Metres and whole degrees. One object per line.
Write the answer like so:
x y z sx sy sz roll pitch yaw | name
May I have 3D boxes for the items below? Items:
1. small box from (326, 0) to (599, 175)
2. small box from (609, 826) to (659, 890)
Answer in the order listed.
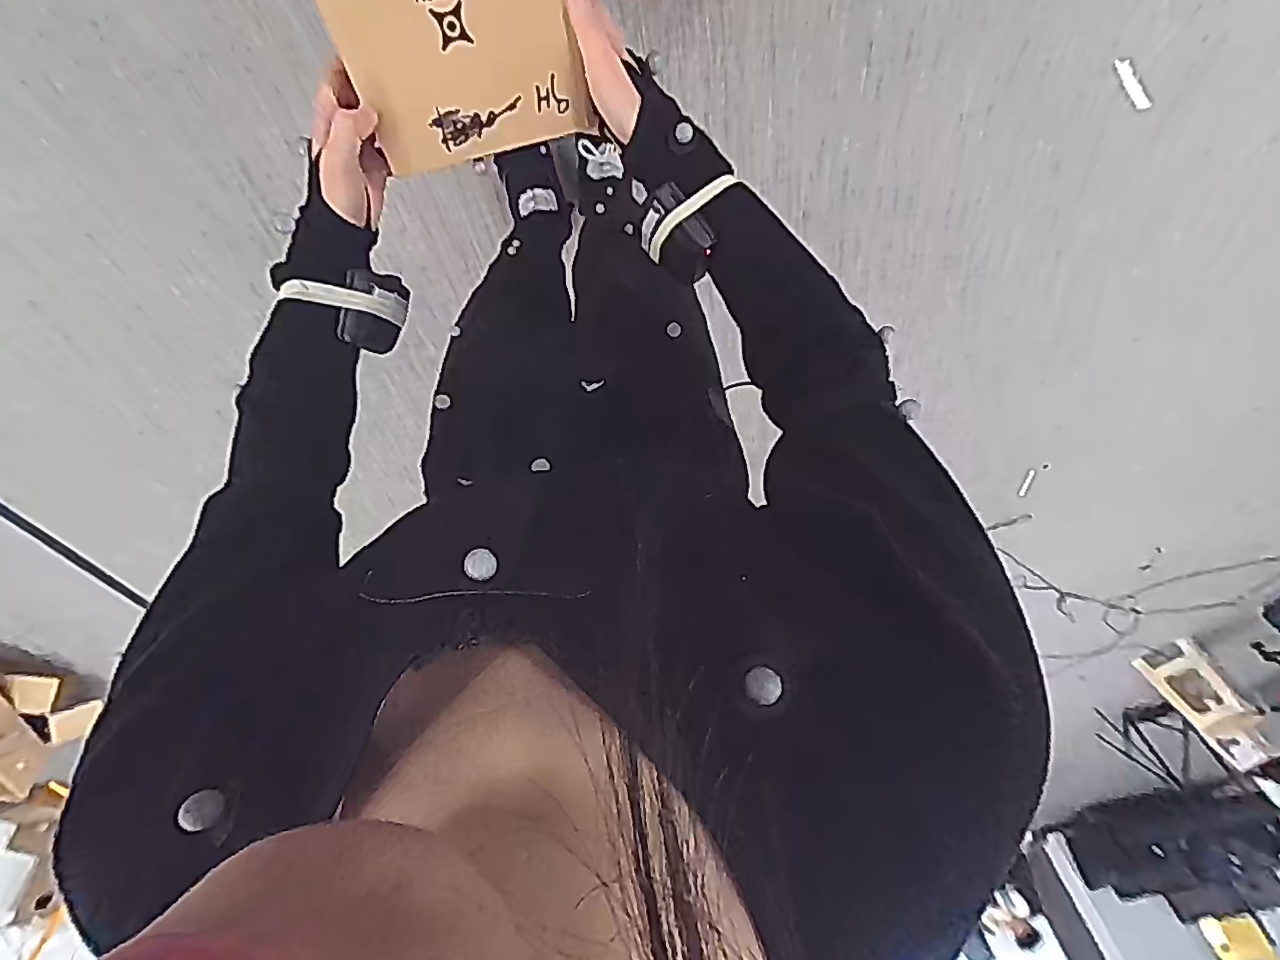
-0.136 -0.370 0.432 0.168 0.176 0.179 -13 129 2 | small box
-0.025 1.522 2.178 0.179 0.176 0.168 -11 136 0 | small box
